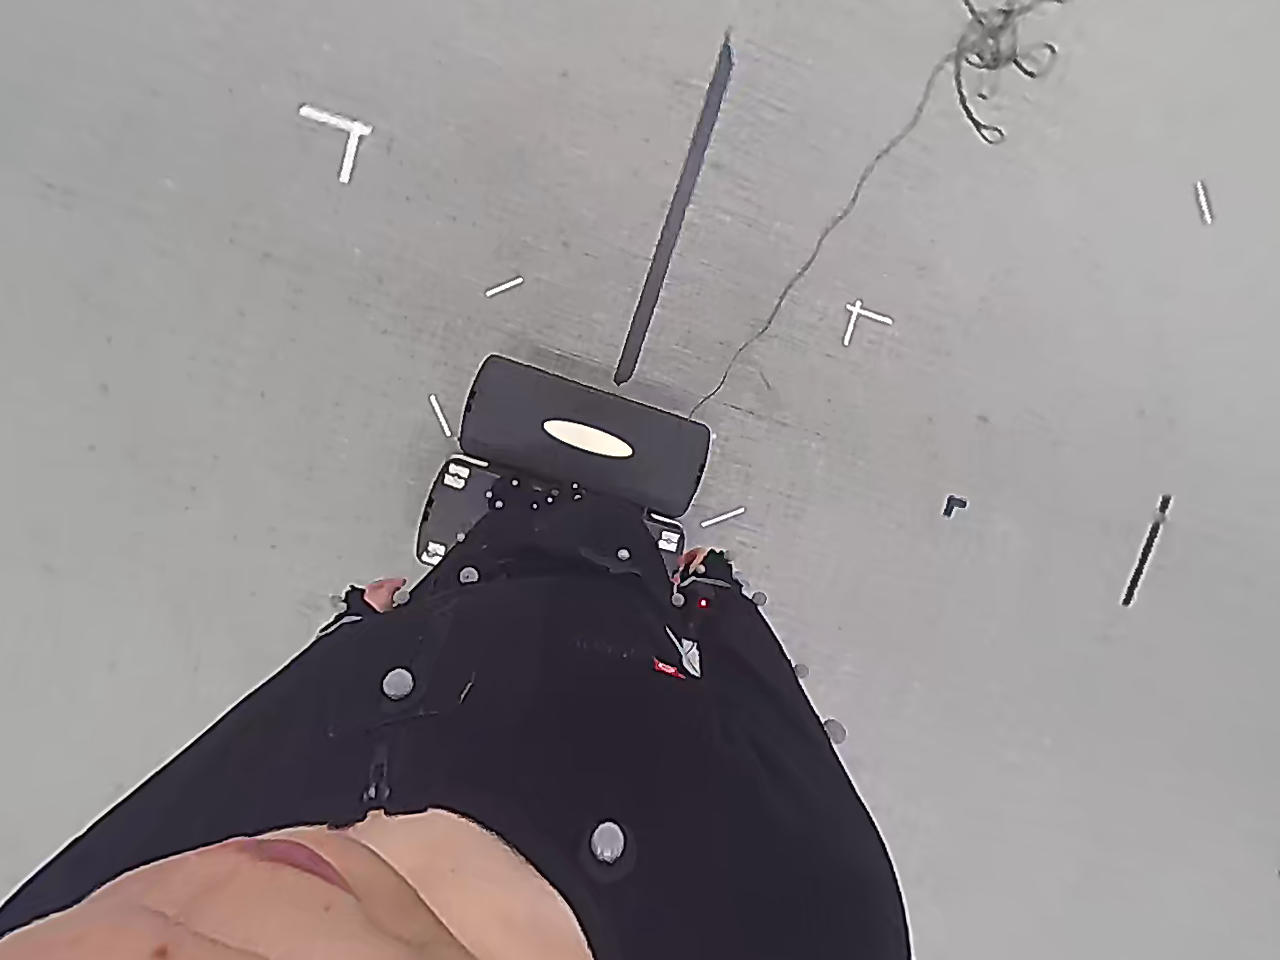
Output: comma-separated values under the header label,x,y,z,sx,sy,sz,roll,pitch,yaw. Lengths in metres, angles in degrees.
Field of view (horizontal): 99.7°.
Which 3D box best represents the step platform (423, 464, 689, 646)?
label,x,y,z,sx,sy,sz,roll,pitch,yaw
step platform,-0.215,0.200,1.462,0.684,0.204,0.286,22,90,-6
